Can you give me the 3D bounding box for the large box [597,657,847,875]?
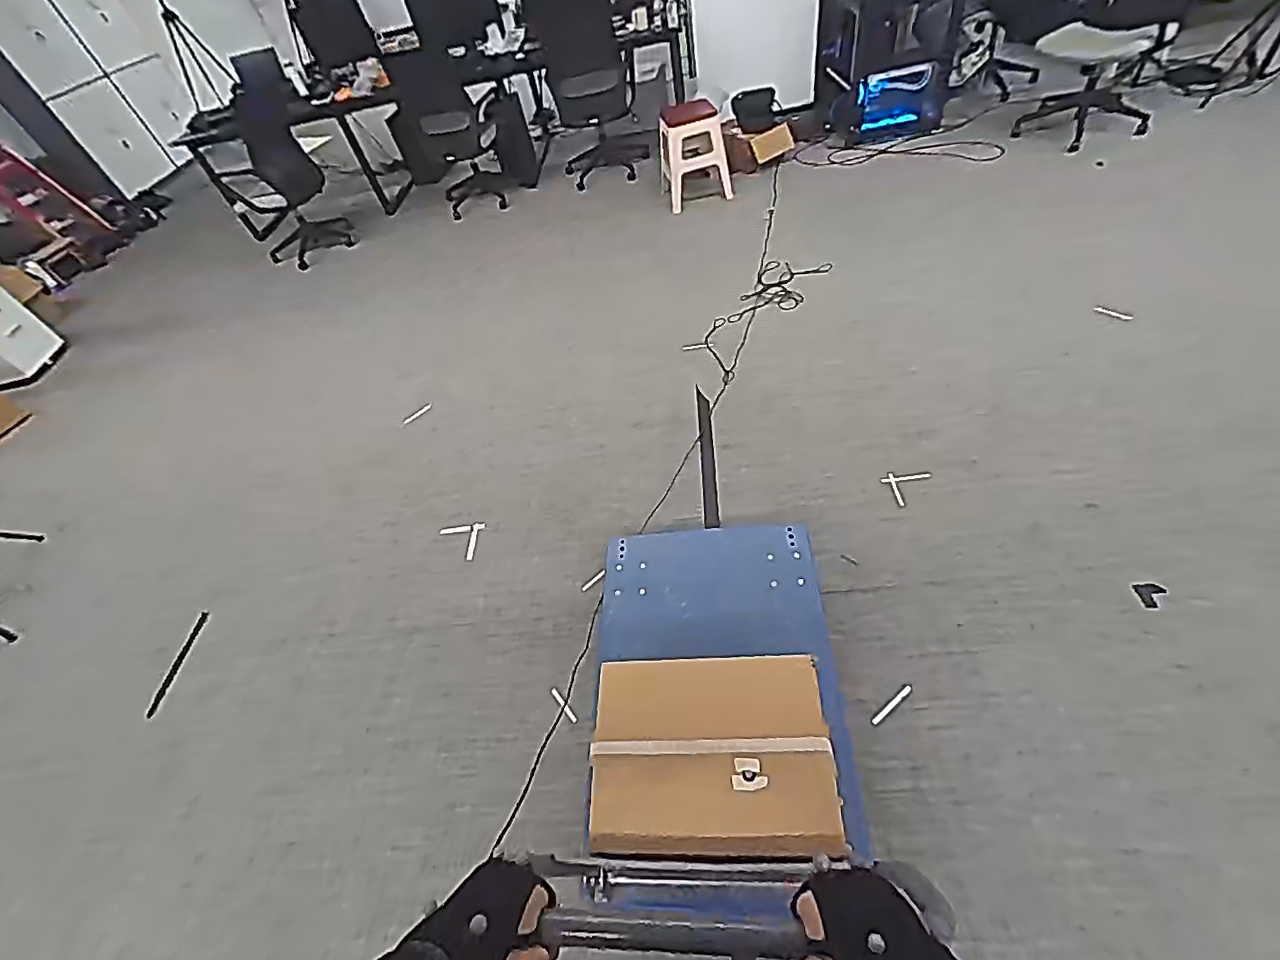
[{"bbox_3d":[0.148,0.567,1.057,0.408,0.320,0.320,-6,50,8],"label":"large box"}]
